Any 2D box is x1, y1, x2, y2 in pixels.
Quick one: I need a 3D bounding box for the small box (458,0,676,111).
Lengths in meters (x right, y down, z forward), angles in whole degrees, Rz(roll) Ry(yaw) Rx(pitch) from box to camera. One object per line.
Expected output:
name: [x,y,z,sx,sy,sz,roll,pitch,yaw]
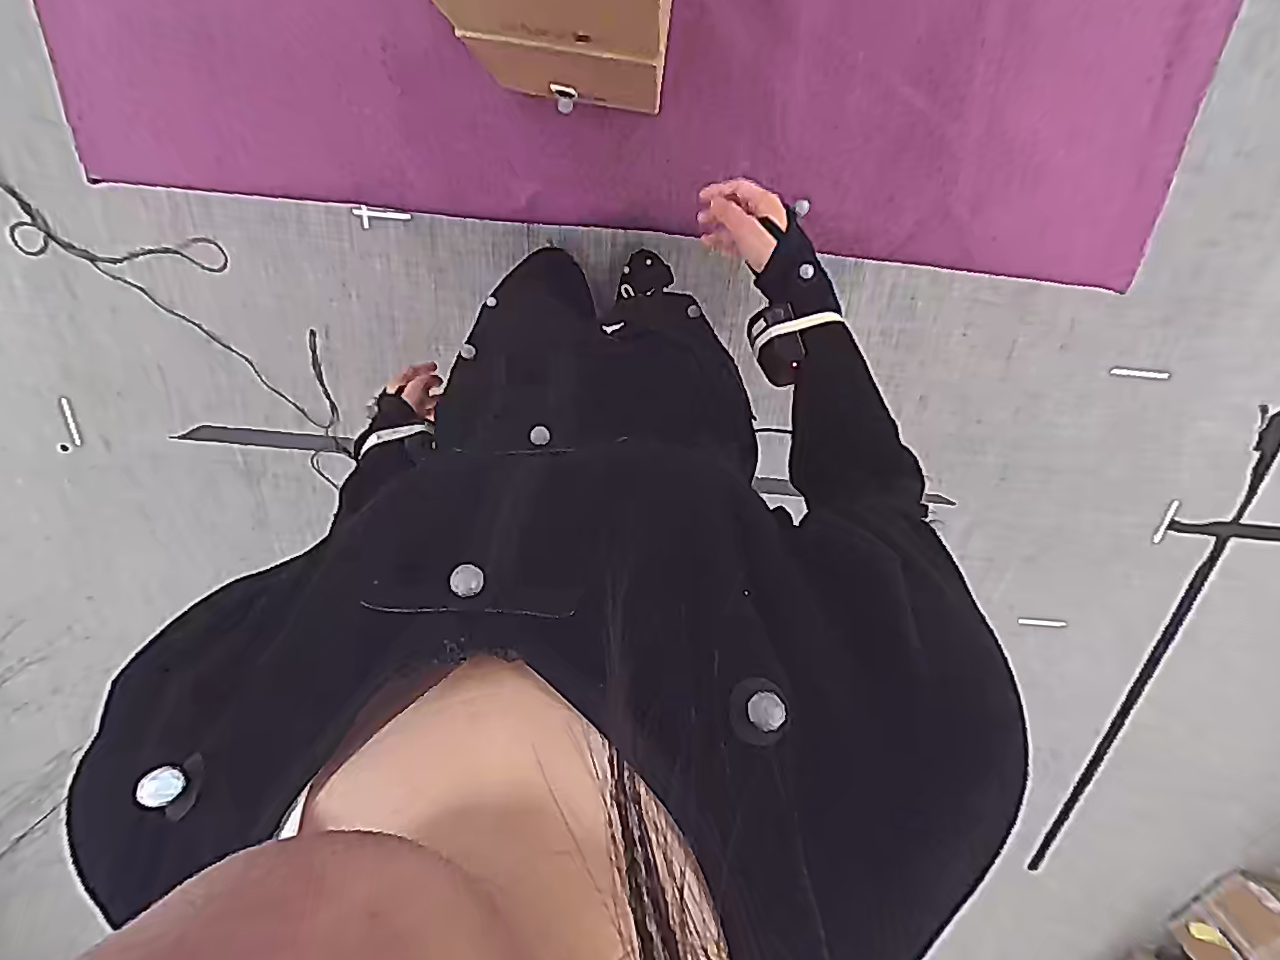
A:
small box: [-0.050,-0.454,0.471,0.168,0.176,0.179,7,113,-2]
